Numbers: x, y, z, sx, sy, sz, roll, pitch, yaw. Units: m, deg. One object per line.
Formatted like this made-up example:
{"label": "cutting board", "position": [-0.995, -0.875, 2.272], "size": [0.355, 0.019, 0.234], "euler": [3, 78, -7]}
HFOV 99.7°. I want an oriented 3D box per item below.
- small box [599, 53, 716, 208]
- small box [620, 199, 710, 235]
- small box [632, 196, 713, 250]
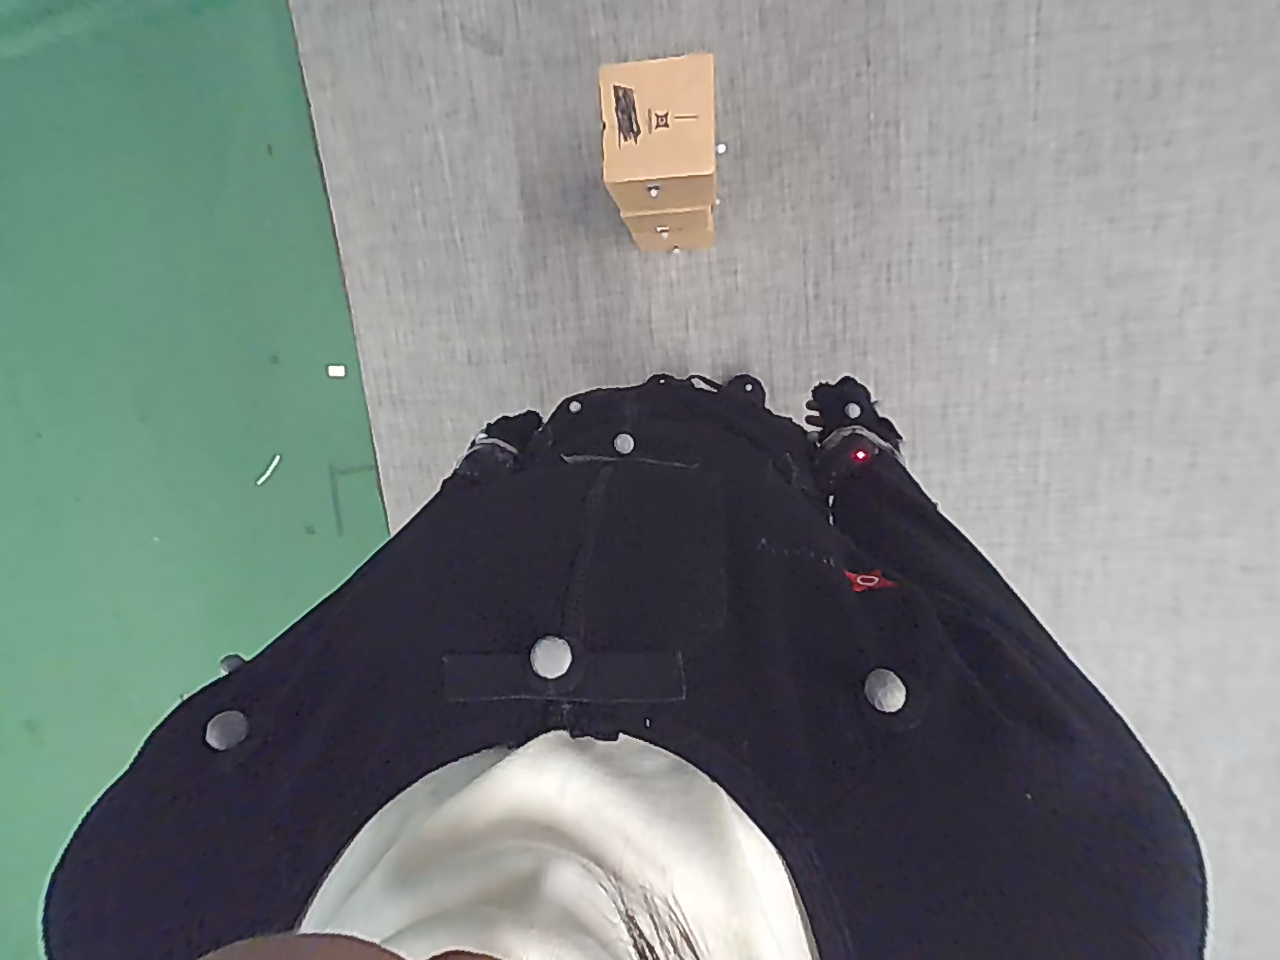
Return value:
{"label": "small box", "position": [0.036, -0.568, 0.904], "size": [0.179, 0.176, 0.168], "euler": [0, 102, 8]}
{"label": "small box", "position": [0.053, -0.601, 1.065], "size": [0.168, 0.176, 0.179], "euler": [-1, 102, 10]}
{"label": "small box", "position": [0.076, -0.627, 1.224], "size": [0.179, 0.176, 0.168], "euler": [0, 101, 8]}
